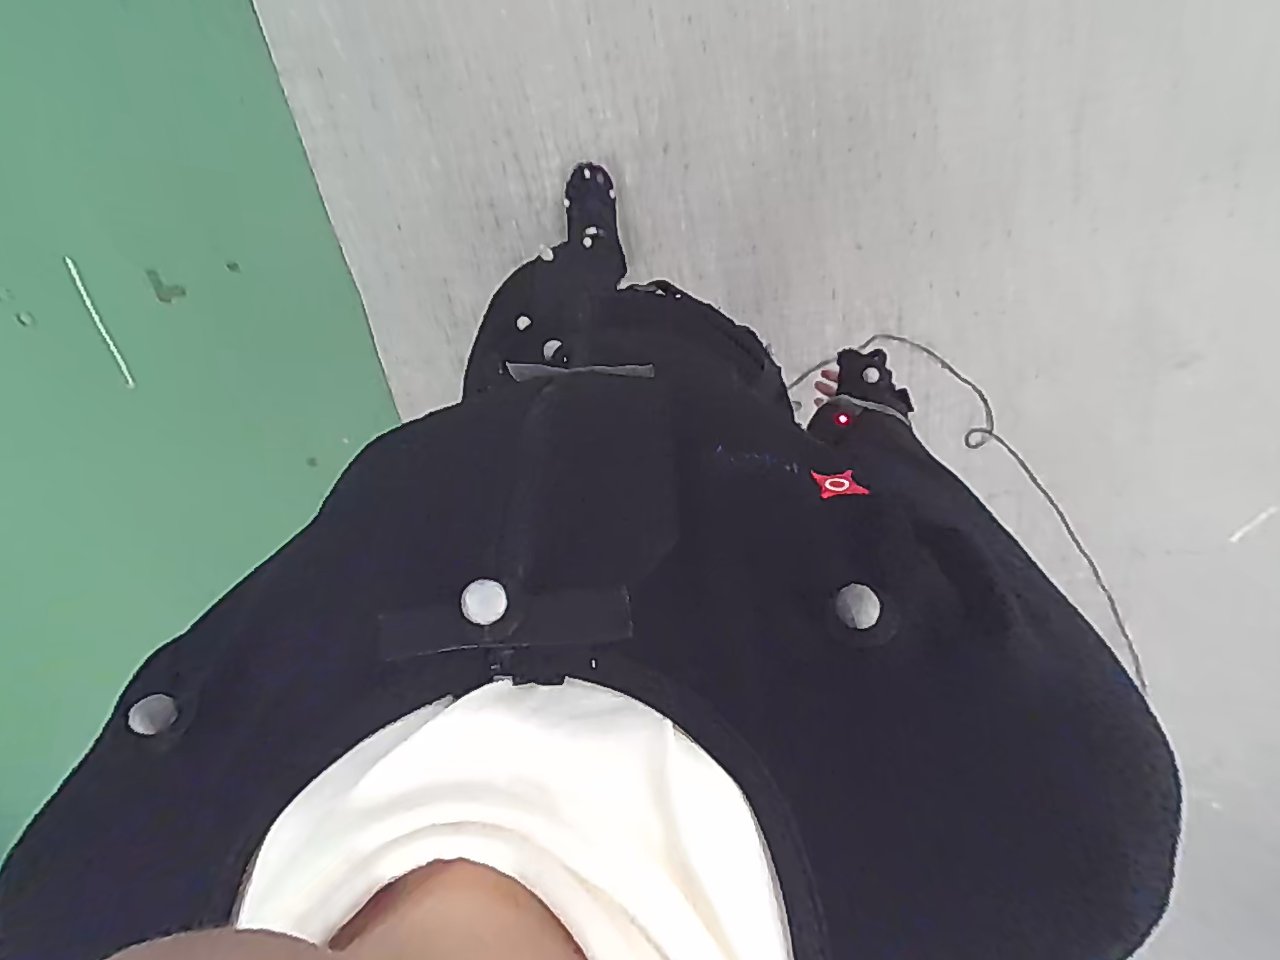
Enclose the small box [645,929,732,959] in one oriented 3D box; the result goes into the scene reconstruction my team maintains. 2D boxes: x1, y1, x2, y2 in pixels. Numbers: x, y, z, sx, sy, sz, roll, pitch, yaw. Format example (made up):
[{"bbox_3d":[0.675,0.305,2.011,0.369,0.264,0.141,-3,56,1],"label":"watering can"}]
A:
[{"bbox_3d":[0.105,1.007,1.033,0.168,0.176,0.179,-11,112,5],"label":"small box"}]
